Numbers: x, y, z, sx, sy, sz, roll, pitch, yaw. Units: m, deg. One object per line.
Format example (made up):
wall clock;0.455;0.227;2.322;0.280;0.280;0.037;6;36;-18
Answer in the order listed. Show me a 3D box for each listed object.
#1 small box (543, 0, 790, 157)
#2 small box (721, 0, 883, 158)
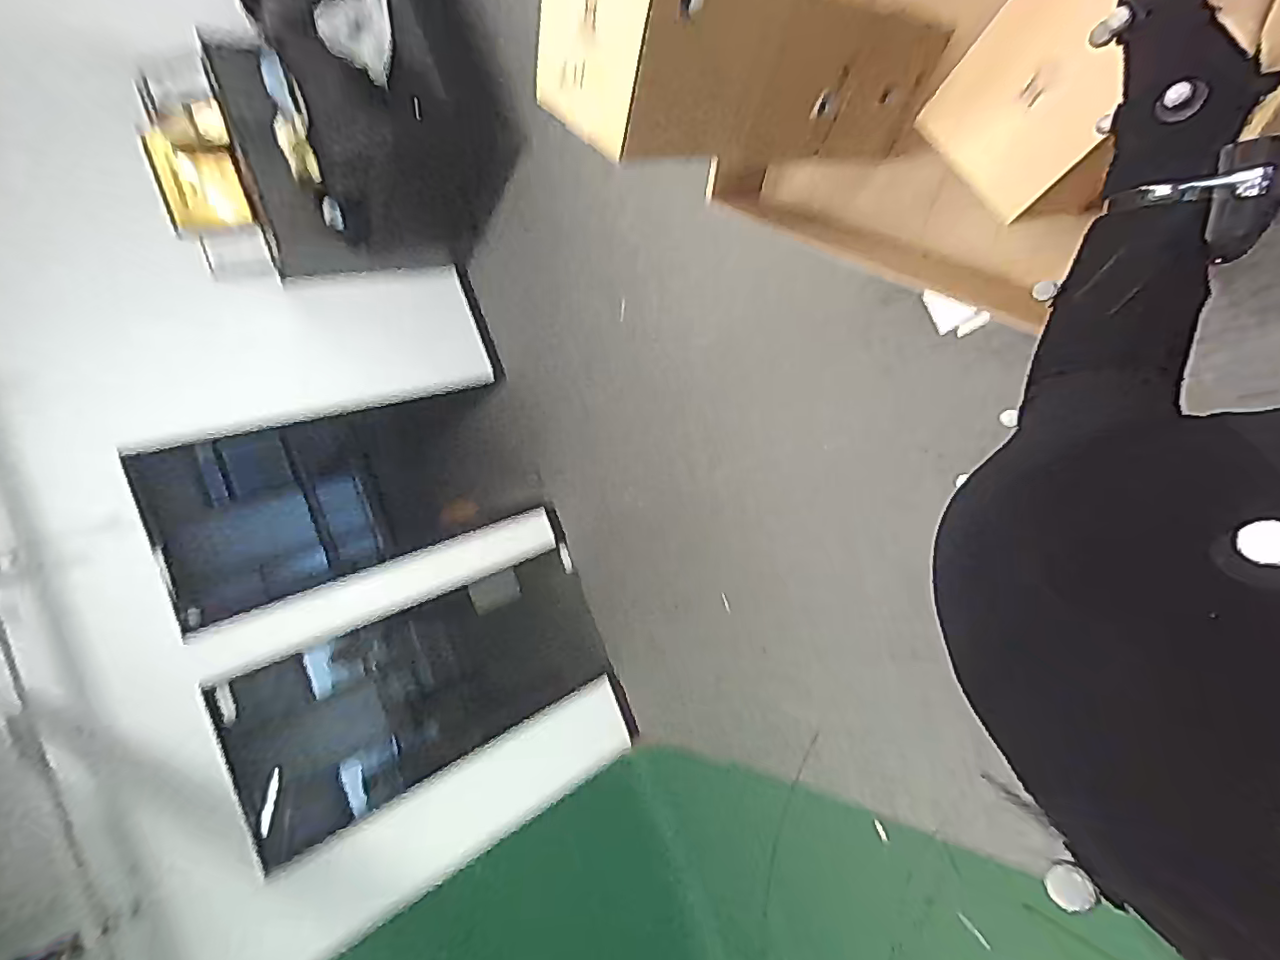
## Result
small box;0.024;-0.455;0.545;0.168;0.176;0.179;51;145;26
small box;0.143;-0.511;0.646;0.179;0.176;0.168;52;145;22
